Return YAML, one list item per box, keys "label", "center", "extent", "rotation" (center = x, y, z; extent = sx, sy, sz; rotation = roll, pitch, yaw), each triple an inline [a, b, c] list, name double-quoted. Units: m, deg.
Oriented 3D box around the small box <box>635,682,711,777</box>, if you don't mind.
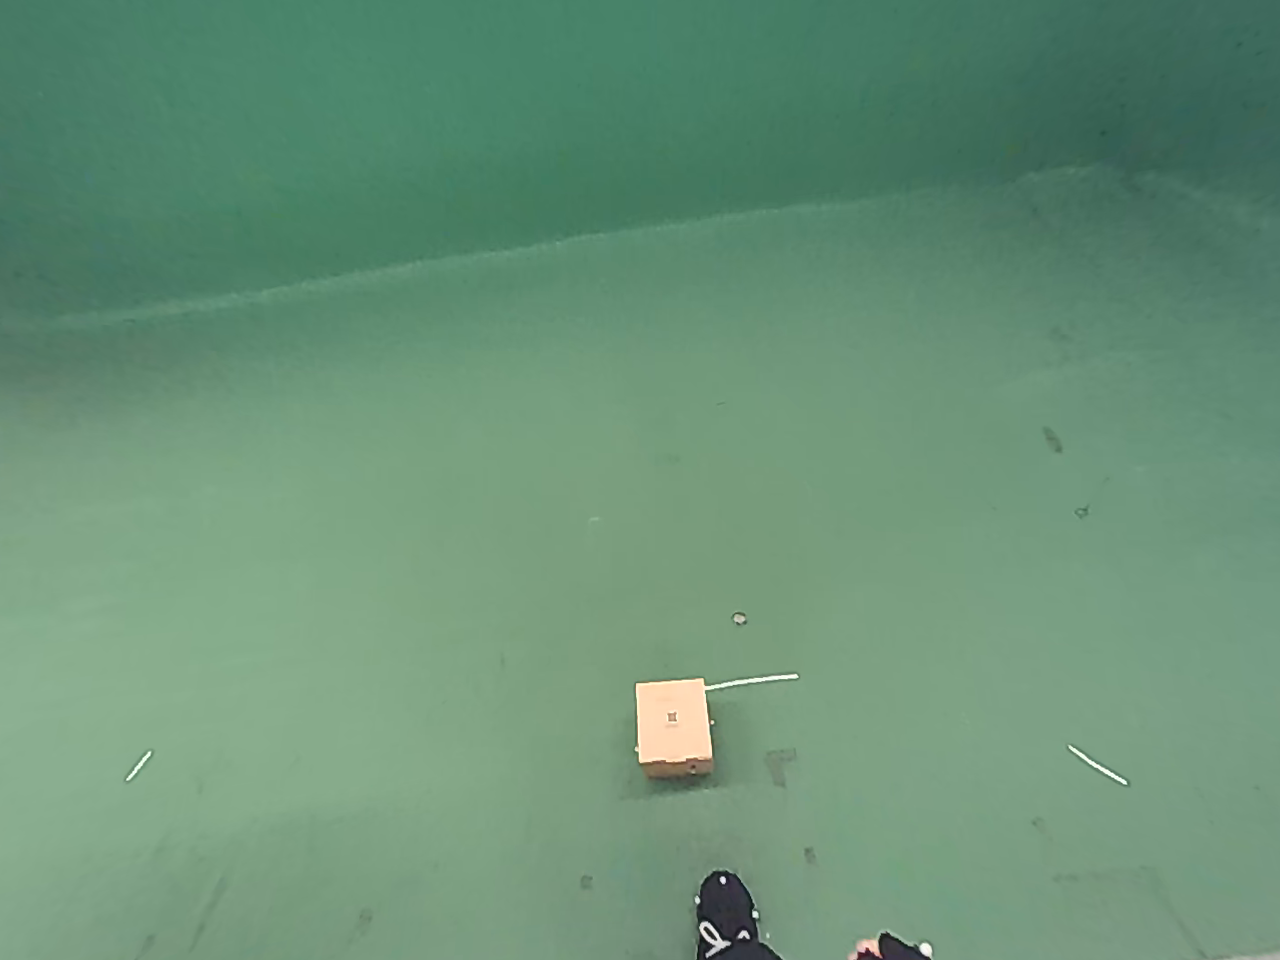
- label: "small box"
  center: [0.080, 0.606, 1.303]
  extent: [0.168, 0.176, 0.179]
  rotation: [-5, 51, 3]
